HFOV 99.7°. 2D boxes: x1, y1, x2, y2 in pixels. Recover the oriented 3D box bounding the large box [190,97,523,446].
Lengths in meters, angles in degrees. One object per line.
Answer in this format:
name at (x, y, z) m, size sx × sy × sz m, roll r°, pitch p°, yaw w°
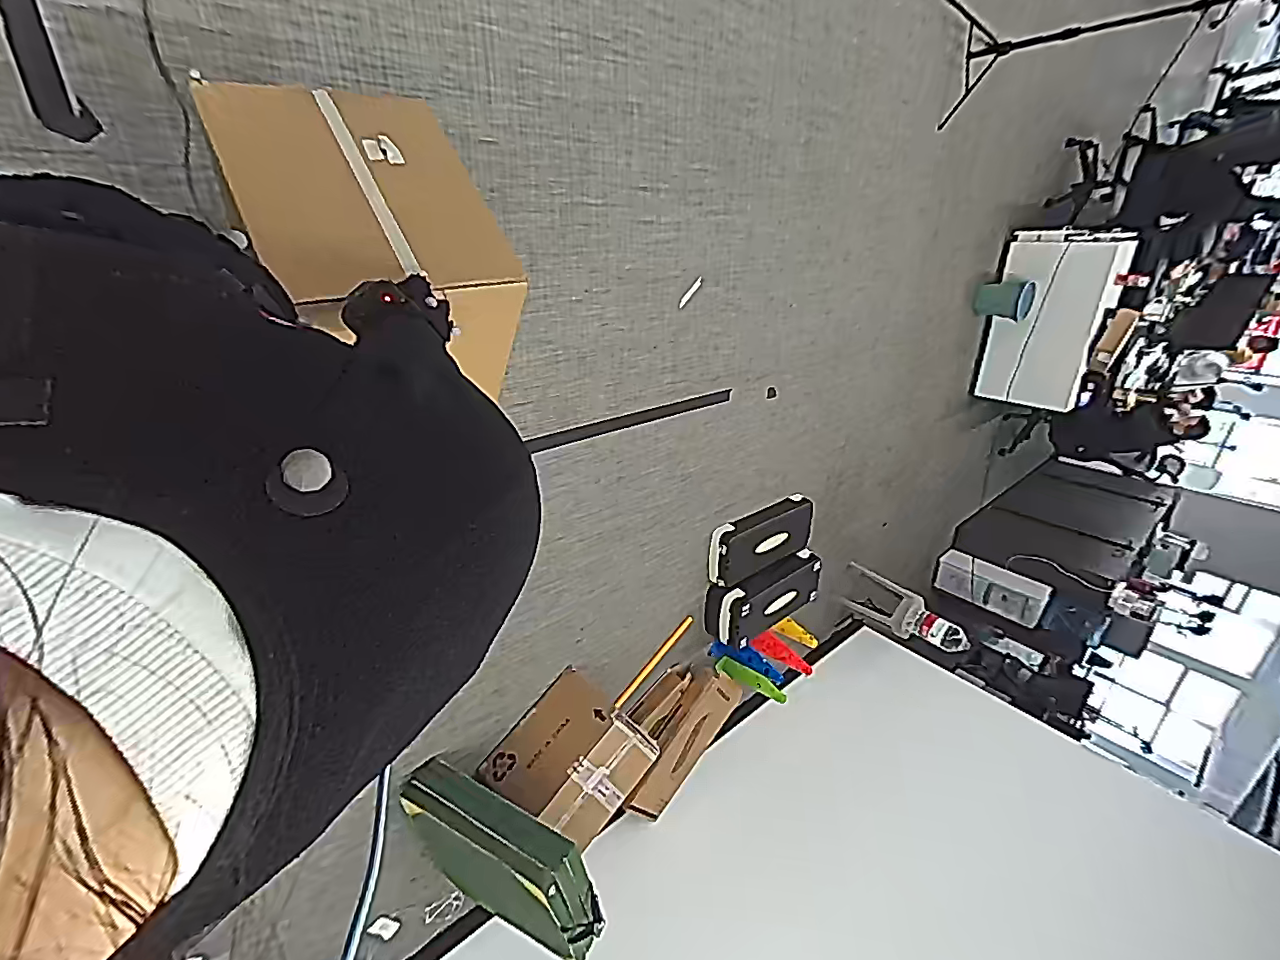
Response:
large box at (-0.440, -0.328, 0.875) m, size 0.320 × 0.408 × 0.320 m, roll -21°, pitch 161°, yaw -34°
